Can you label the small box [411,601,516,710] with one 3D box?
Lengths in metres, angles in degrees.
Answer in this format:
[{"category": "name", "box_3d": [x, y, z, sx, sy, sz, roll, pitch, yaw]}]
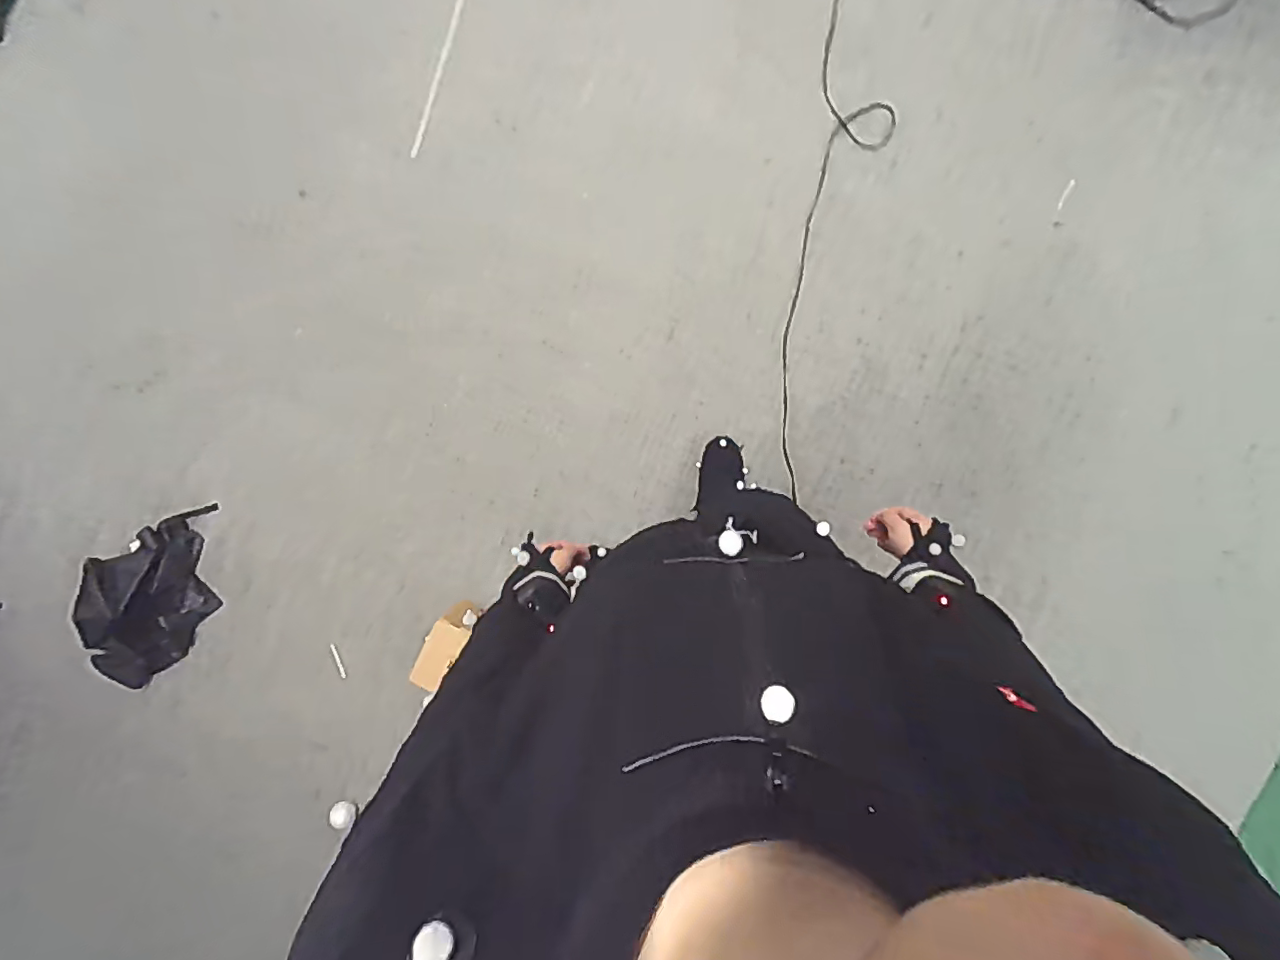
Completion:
[{"category": "small box", "box_3d": [-0.430, 0.426, 1.349, 0.168, 0.176, 0.179, 27, 96, 3]}]
